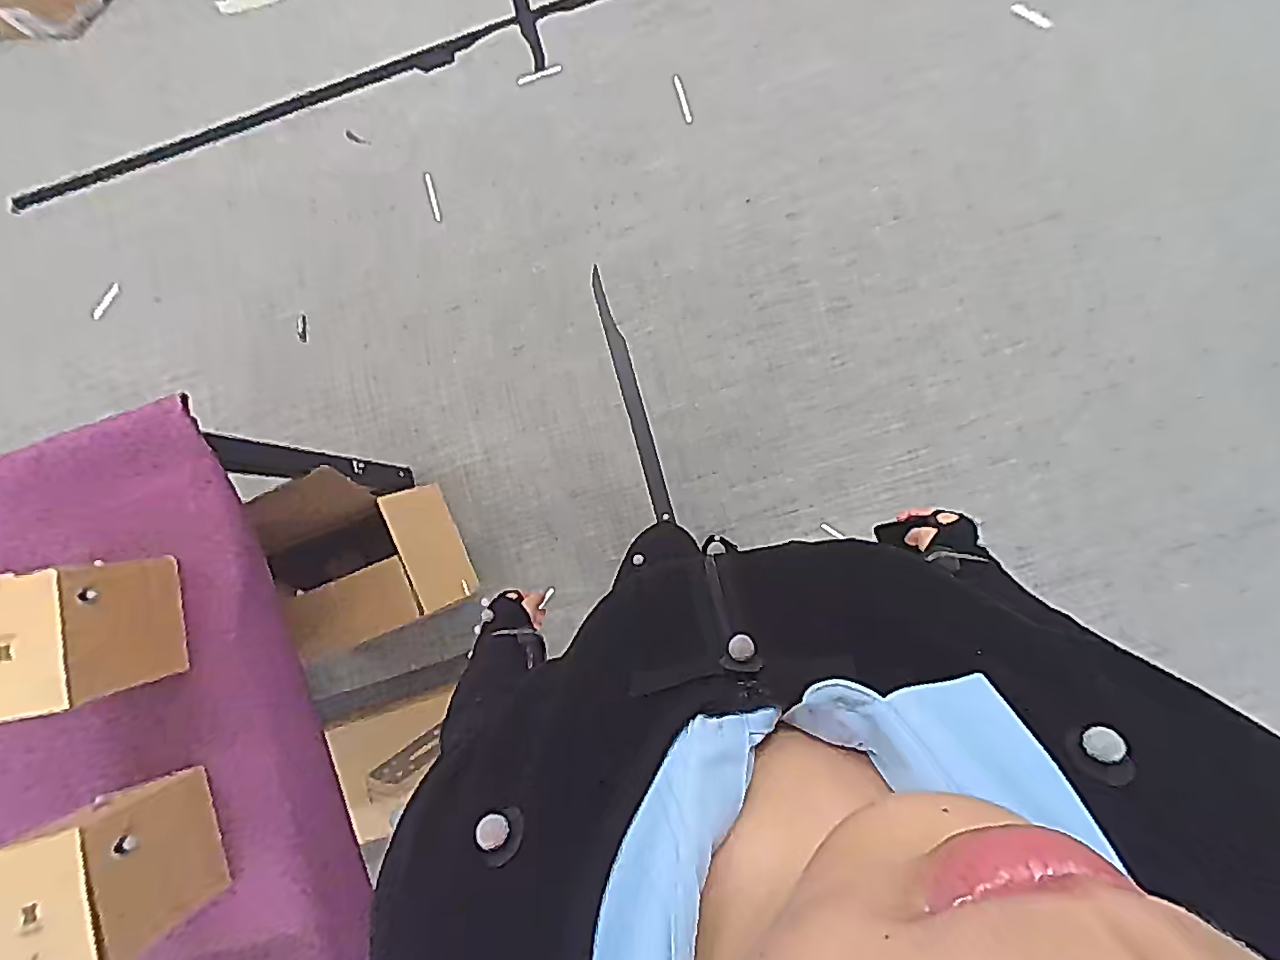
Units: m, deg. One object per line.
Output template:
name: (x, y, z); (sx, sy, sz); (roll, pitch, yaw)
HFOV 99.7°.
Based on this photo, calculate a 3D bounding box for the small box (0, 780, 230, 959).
small box: (-0.697, 0.527, 0.713); (0.168, 0.176, 0.179); (-19, 84, 5)

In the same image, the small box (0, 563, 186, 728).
small box: (-0.775, 0.220, 0.744); (0.168, 0.176, 0.179); (-12, 84, 3)
